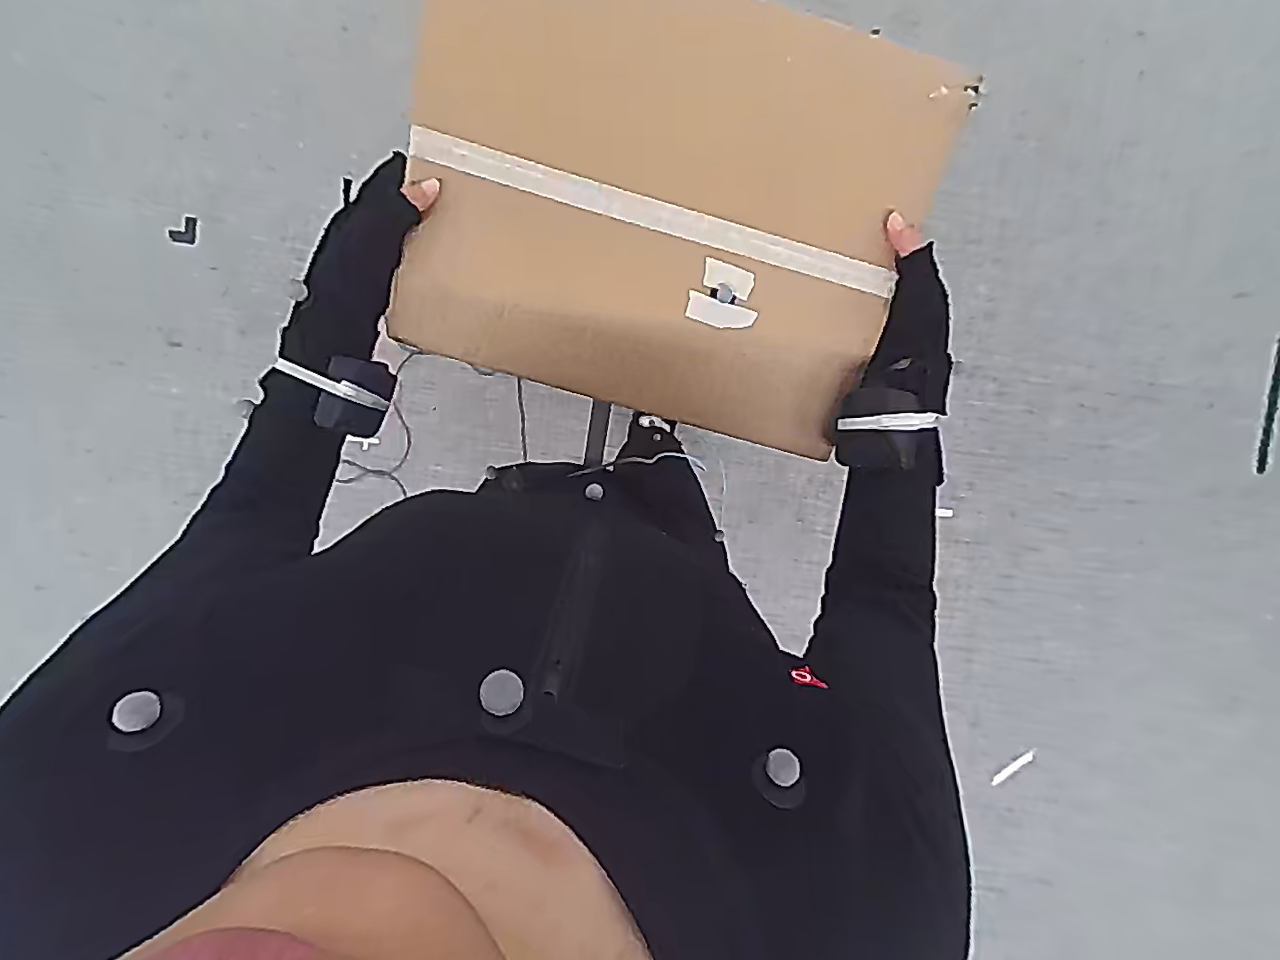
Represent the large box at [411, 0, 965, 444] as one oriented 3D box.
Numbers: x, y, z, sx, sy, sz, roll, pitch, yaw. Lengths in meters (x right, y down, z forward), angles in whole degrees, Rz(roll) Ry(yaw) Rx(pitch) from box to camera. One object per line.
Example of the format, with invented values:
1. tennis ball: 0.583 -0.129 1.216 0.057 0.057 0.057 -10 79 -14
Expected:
1. large box: 0.023 -0.266 0.589 0.408 0.320 0.320 15 109 -5
